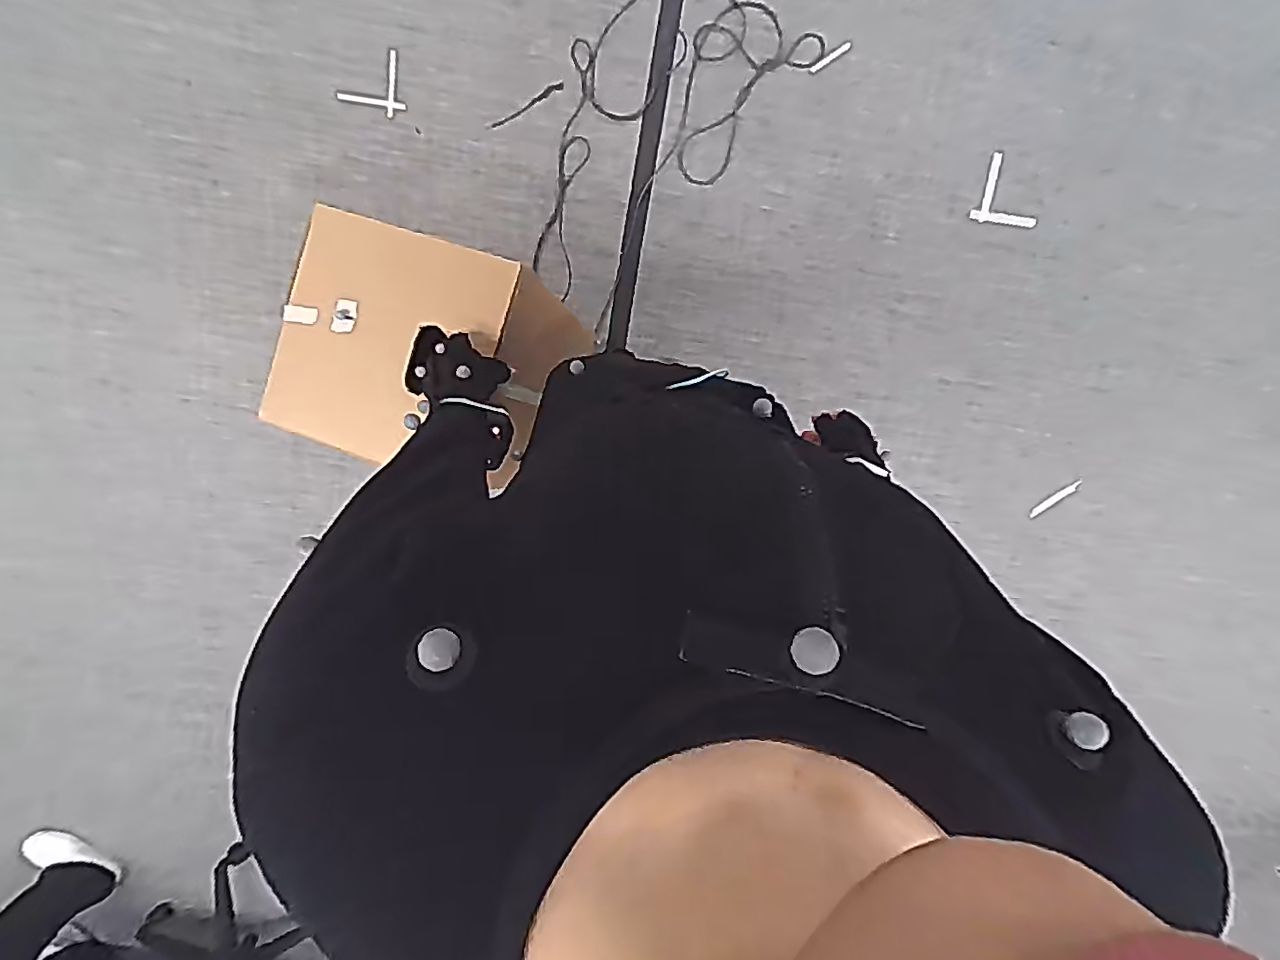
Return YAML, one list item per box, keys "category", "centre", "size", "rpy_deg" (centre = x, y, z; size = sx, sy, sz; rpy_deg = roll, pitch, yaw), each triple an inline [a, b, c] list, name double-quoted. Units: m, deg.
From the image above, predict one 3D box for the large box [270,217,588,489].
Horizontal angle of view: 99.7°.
- category: "large box"
  centre: [-0.322, -0.189, 0.932]
  size: [0.320, 0.408, 0.320]
  rpy_deg: [20, 95, 7]
